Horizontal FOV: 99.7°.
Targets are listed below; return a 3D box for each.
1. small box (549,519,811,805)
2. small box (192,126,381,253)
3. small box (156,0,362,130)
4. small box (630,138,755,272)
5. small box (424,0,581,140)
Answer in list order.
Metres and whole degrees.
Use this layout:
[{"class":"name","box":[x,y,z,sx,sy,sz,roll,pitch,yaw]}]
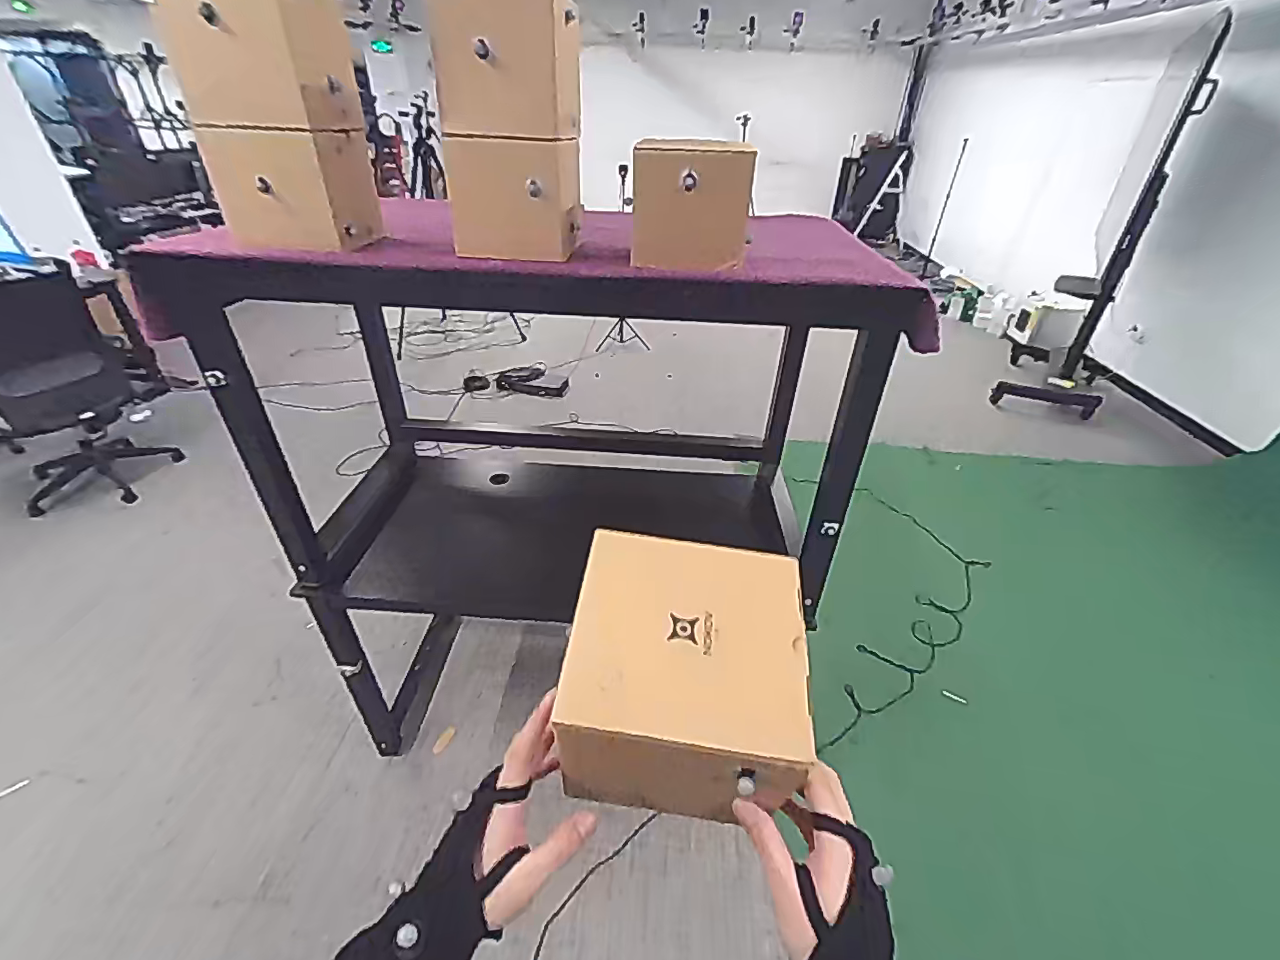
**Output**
[{"class":"small box","box":[0.031,0.158,0.462,0.179,0.176,0.168,8,47,2]},{"class":"small box","box":[-0.548,-0.471,0.873,0.179,0.176,0.168,2,34,0]},{"class":"small box","box":[-0.541,-0.608,0.782,0.179,0.176,0.168,3,34,1]},{"class":"small box","box":[0.079,-0.436,0.857,0.179,0.176,0.168,4,36,4]},{"class":"small box","box":[-0.189,-0.598,0.788,0.179,0.176,0.168,4,34,4]}]
